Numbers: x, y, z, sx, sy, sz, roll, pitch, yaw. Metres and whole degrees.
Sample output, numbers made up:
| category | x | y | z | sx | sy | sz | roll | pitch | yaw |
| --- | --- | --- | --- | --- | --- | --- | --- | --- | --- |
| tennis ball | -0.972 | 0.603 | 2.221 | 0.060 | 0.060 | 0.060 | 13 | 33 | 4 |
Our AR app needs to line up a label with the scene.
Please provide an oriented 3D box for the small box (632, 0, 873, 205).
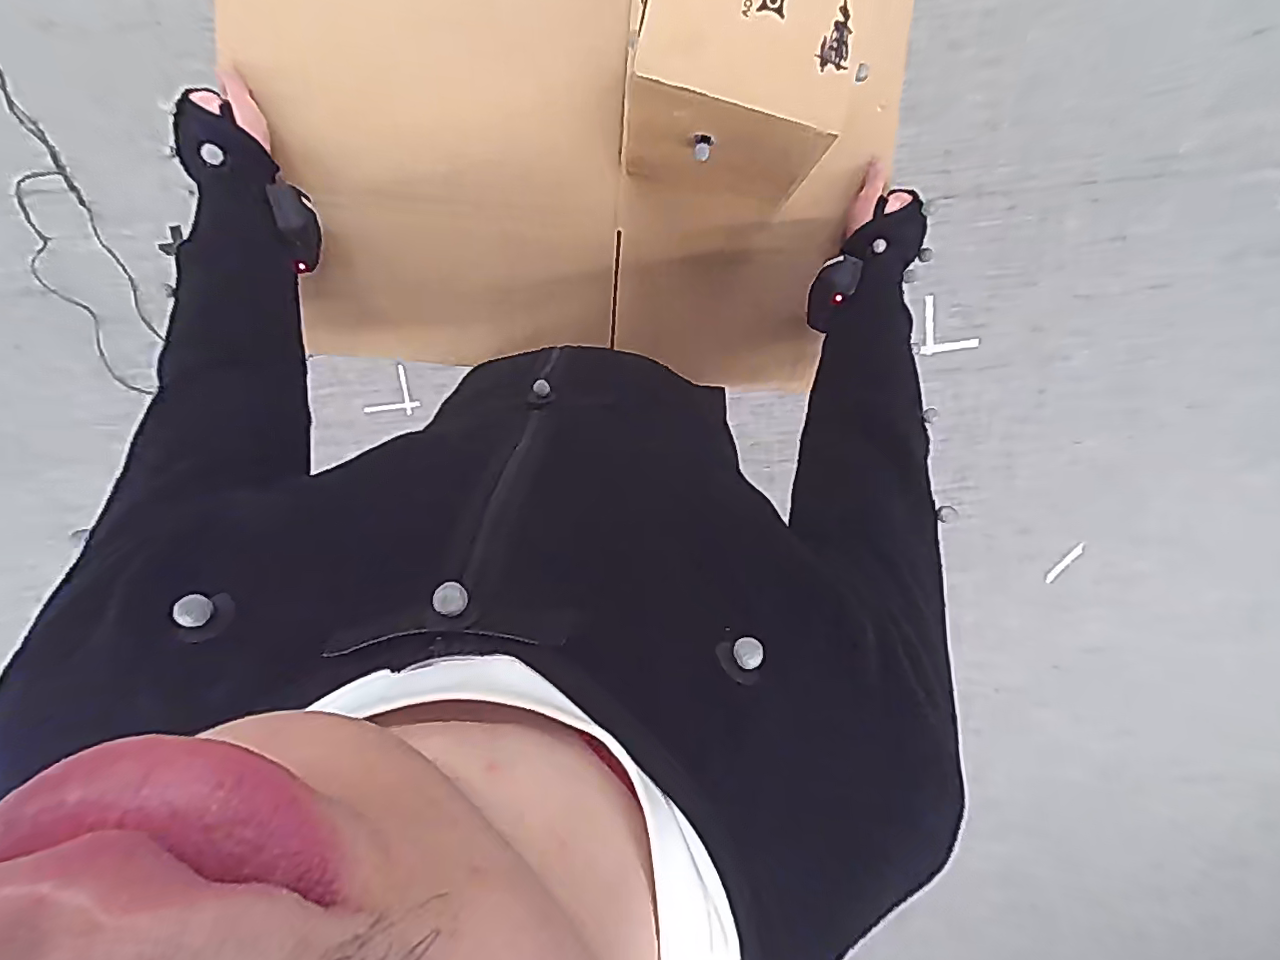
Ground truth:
| category | x | y | z | sx | sy | sz | roll | pitch | yaw |
| --- | --- | --- | --- | --- | --- | --- | --- | --- | --- |
| small box | 0.094 | -0.386 | 0.507 | 0.179 | 0.176 | 0.168 | 14 | 96 | -3 |
